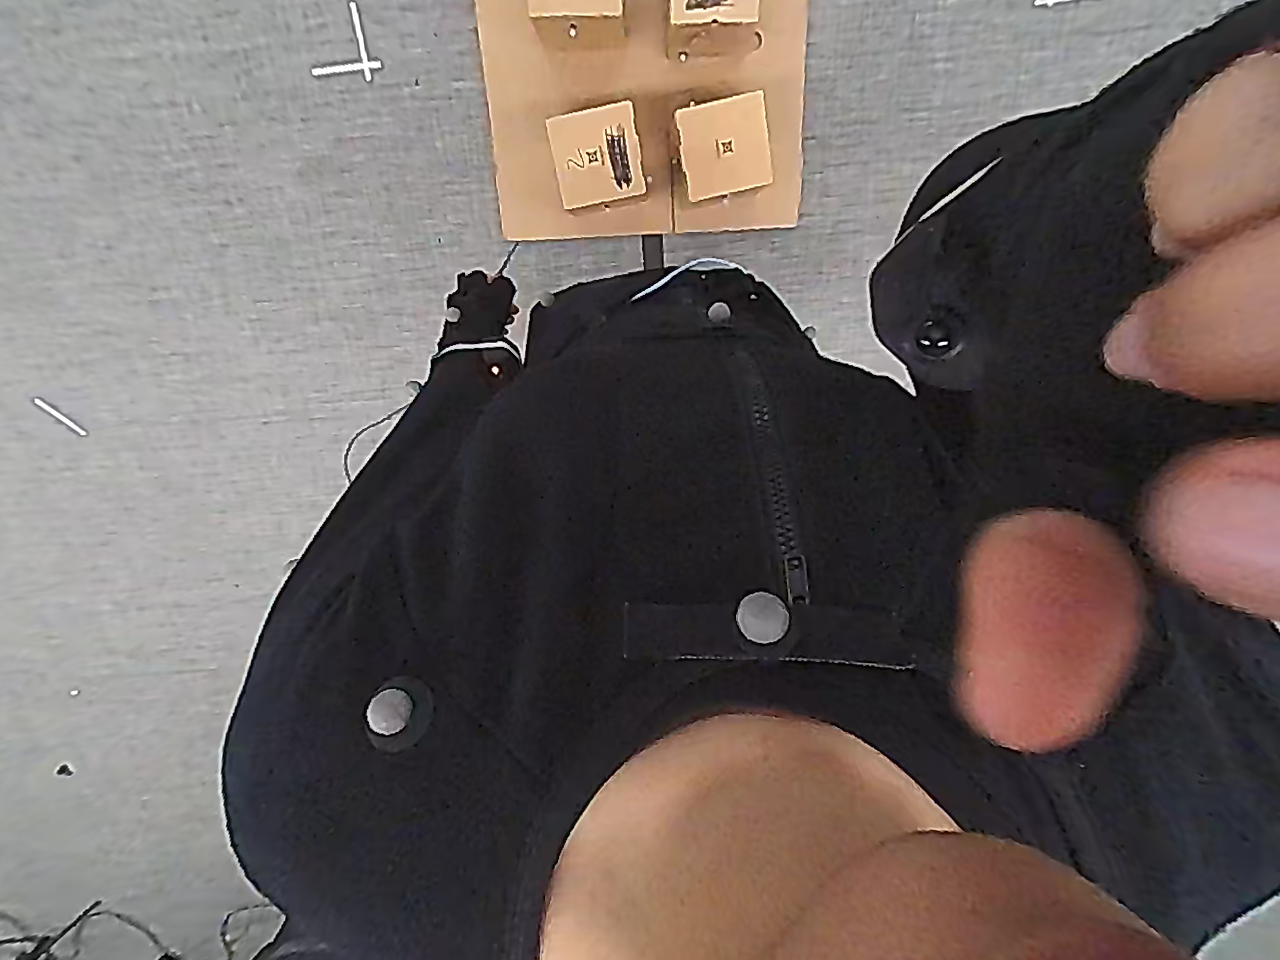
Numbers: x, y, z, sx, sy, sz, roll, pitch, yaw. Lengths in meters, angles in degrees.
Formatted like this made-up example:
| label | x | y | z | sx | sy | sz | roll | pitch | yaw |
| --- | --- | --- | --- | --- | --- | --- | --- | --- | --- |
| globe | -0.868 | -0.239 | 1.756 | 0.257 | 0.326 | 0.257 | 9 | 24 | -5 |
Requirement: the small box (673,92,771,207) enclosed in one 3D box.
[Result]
| label | x | y | z | sx | sy | sz | roll | pitch | yaw |
| --- | --- | --- | --- | --- | --- | --- | --- | --- | --- |
| small box | 0.171 | -0.699 | 1.161 | 0.179 | 0.176 | 0.168 | -10 | 111 | 5 |
